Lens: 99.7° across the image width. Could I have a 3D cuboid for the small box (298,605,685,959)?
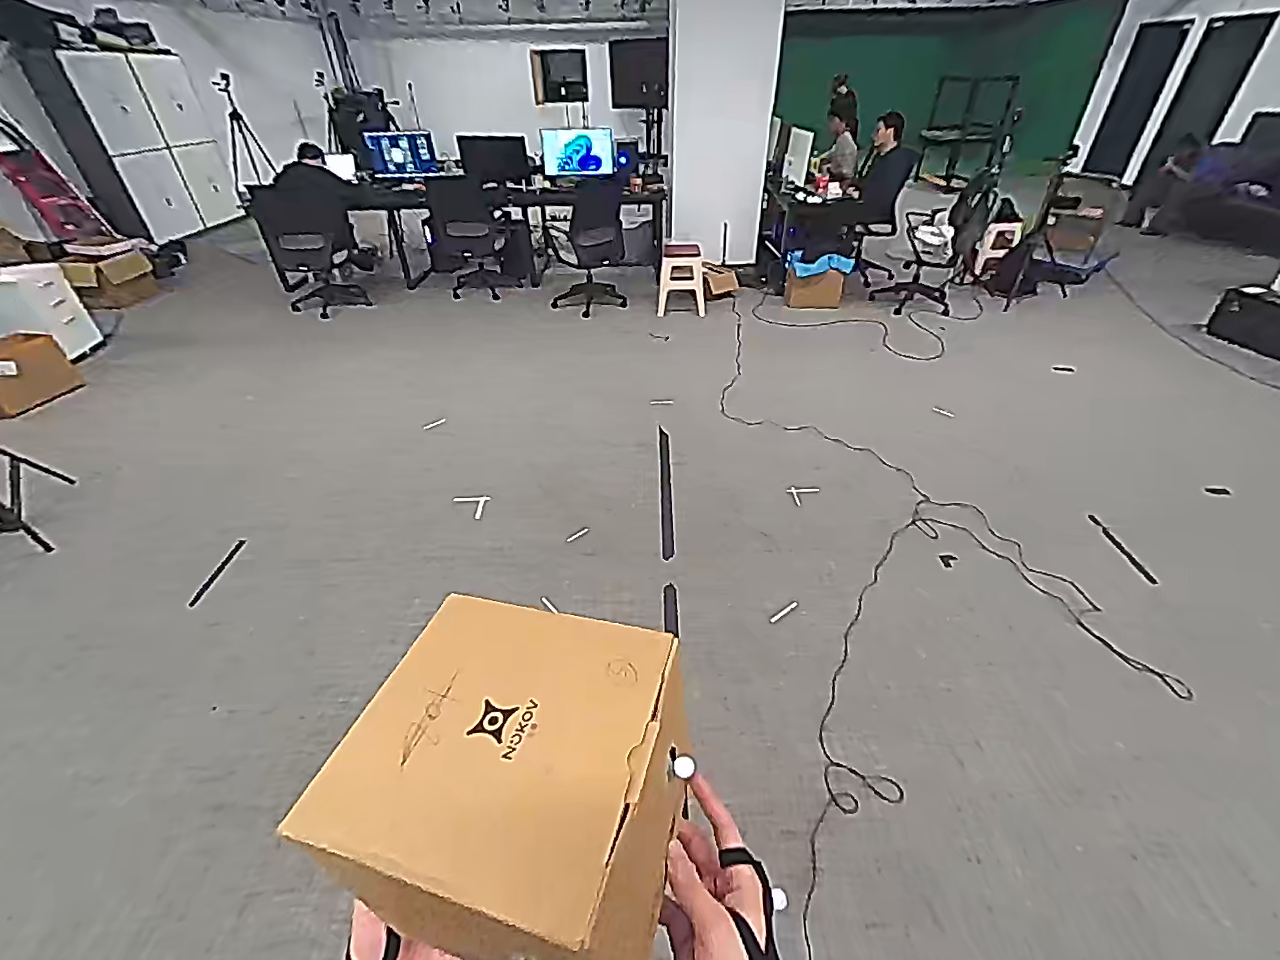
[{"bbox_3d":[-0.071,0.214,0.371,0.179,0.176,0.168,4,36,17],"label":"small box"}]
